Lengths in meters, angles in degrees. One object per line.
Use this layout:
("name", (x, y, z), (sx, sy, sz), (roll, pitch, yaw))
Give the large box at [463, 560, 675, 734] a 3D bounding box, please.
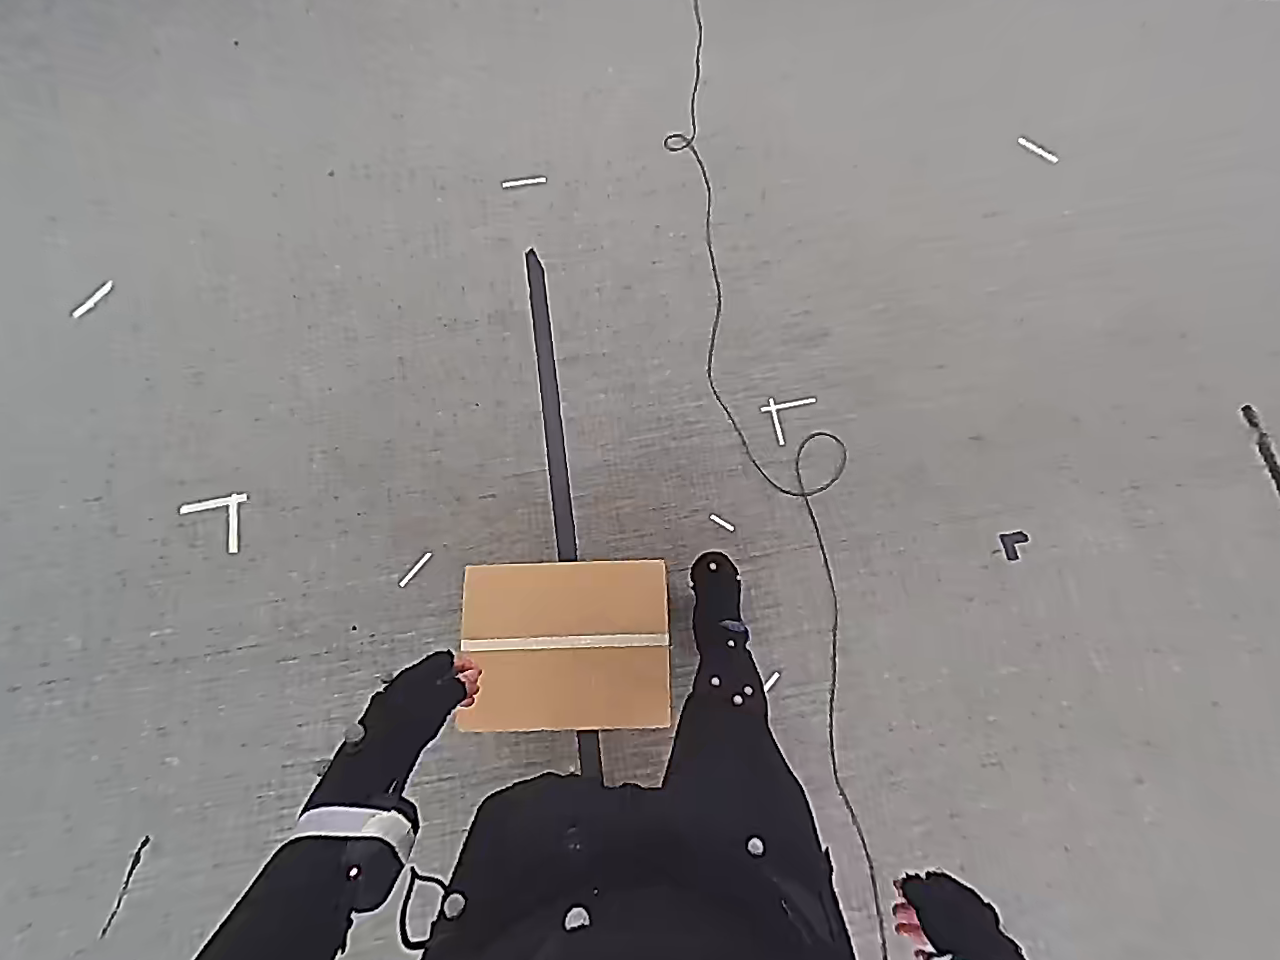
("large box", (-0.138, 0.356, 1.186), (0.408, 0.320, 0.320), (-2, 75, 0))
